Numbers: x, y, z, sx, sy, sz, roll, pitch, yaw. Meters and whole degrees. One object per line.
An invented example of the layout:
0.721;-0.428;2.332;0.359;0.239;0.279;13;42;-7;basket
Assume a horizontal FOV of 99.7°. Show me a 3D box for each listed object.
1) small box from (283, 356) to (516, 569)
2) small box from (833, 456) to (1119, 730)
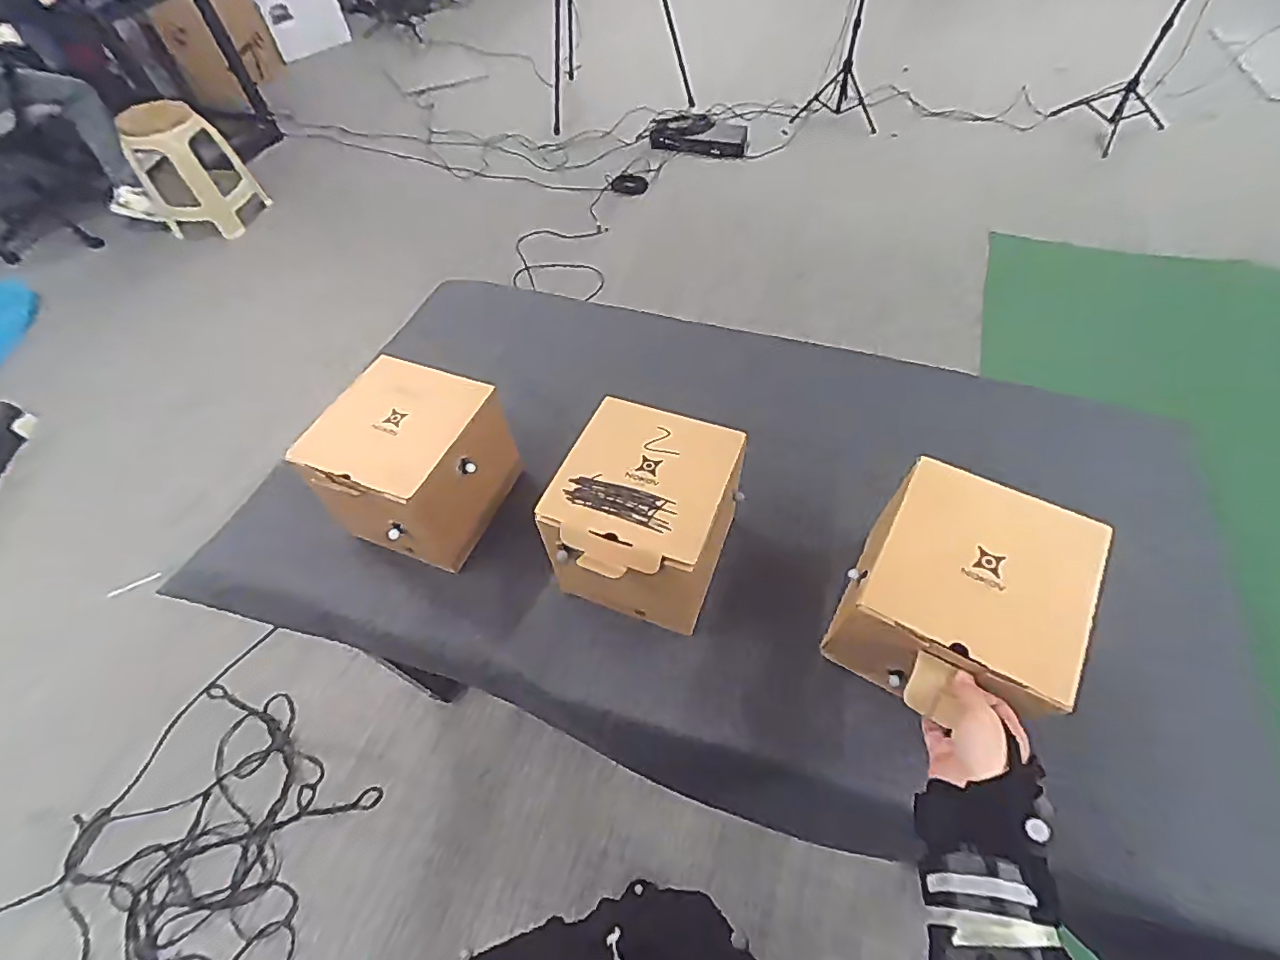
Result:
-0.271;-0.018;0.662;0.168;0.176;0.179;17;56;13;small box
0.307;0.114;0.526;0.168;0.176;0.179;25;65;19;small box
